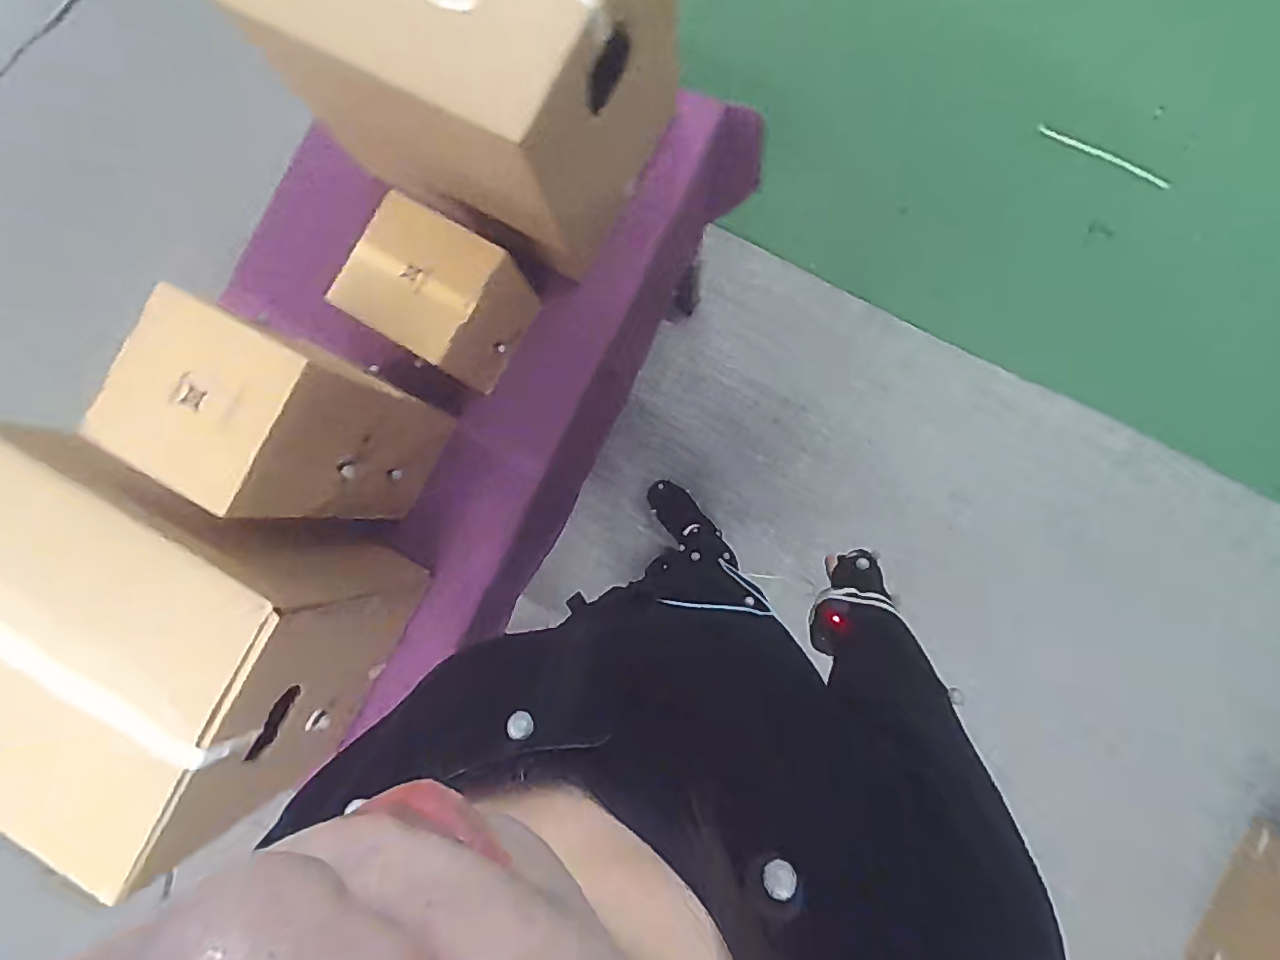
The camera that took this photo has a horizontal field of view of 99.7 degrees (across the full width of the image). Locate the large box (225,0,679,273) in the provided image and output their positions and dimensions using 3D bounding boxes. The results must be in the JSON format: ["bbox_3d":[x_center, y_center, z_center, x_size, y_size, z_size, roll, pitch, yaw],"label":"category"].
[{"bbox_3d":[-0.197,-0.545,0.698,0.408,0.320,0.320,29,88,5],"label":"large box"}]
